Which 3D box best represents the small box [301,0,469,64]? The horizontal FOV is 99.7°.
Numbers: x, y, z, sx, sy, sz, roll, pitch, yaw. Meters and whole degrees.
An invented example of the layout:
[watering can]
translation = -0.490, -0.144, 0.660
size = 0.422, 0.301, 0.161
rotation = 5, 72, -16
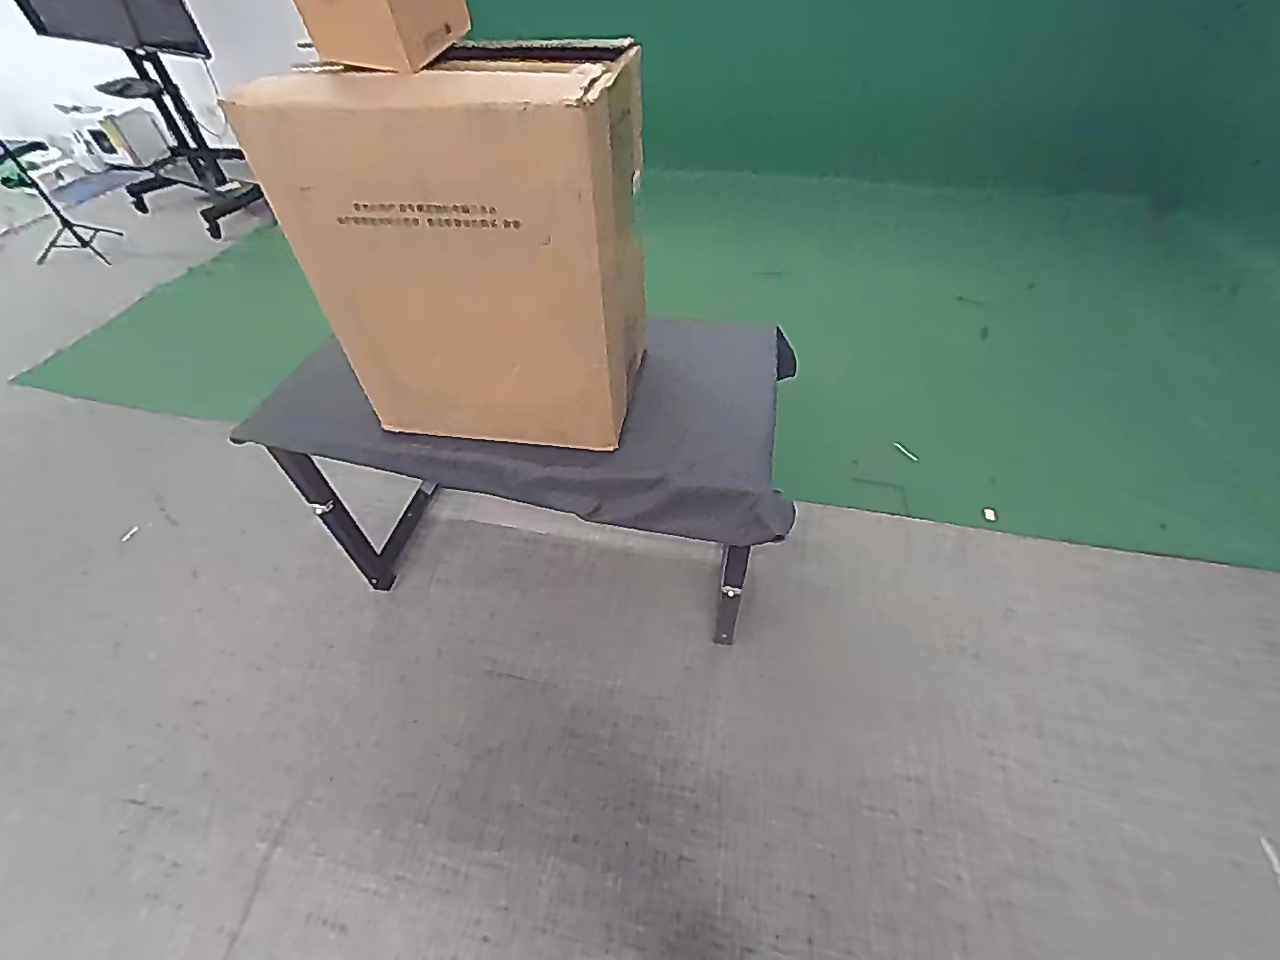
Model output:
[small box]
translation = -0.378, -0.723, 0.765
size = 0.179, 0.176, 0.168
rotation = 18, 63, 15
